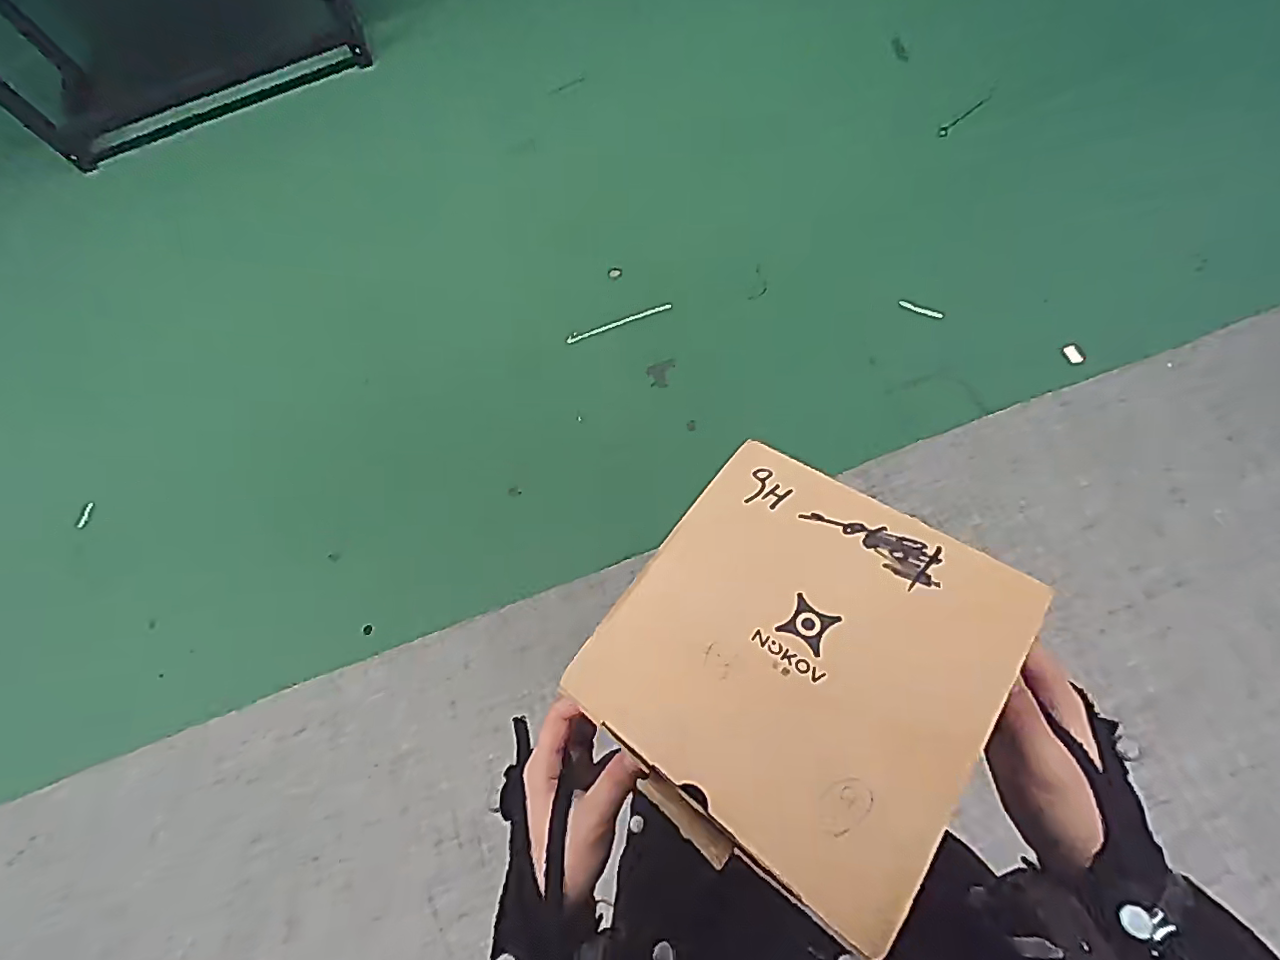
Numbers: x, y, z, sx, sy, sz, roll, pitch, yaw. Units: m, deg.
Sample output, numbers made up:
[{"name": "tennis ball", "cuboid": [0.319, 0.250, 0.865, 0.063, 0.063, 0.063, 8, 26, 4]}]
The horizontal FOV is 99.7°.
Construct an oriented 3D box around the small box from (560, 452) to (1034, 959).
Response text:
[{"name": "small box", "cuboid": [0.087, 0.122, 0.329, 0.168, 0.176, 0.179, 30, 70, 26]}]
